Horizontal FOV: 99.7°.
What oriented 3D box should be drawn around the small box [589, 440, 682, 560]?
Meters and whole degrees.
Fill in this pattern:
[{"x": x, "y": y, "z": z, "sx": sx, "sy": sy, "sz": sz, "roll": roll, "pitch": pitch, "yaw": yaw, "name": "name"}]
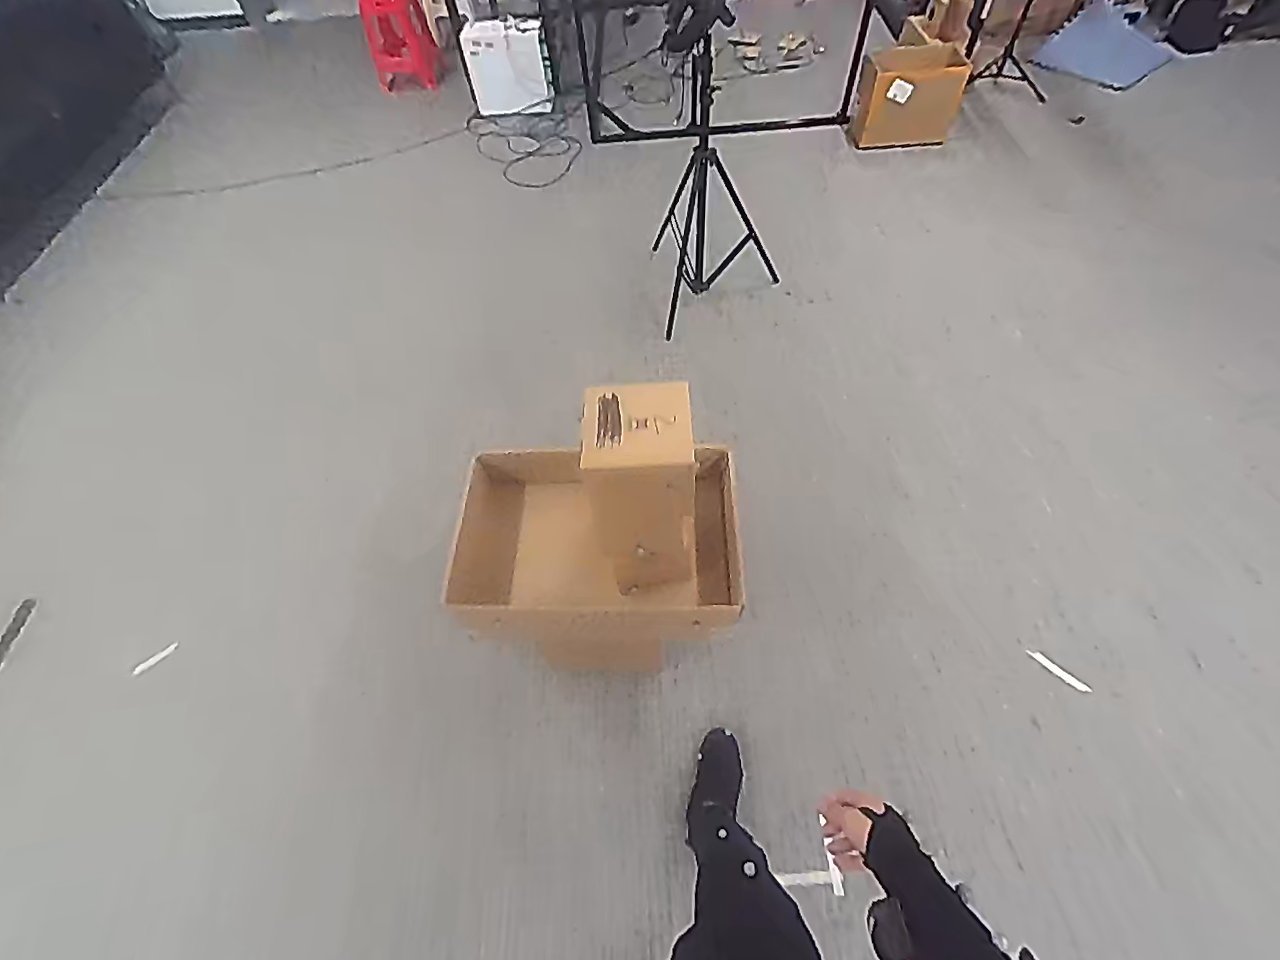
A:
[{"x": -0.003, "y": 0.042, "z": 1.061, "sx": 0.168, "sy": 0.176, "sz": 0.179, "roll": -3, "pitch": 58, "yaw": 4, "name": "small box"}]
